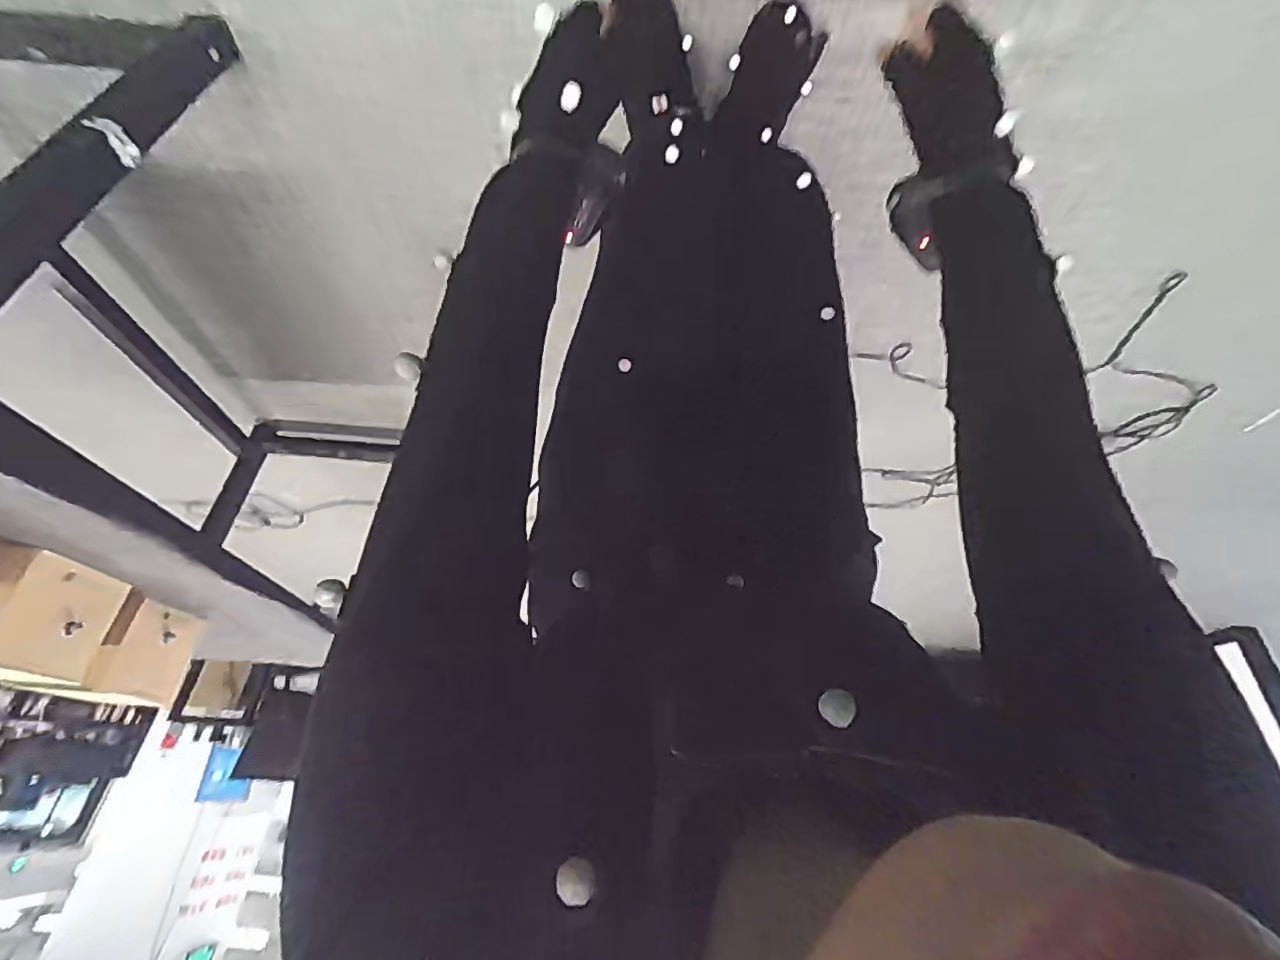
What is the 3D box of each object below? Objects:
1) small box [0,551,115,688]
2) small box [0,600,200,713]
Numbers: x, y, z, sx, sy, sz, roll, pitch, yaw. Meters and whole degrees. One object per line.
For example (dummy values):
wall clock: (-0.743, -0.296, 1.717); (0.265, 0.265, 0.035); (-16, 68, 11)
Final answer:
small box: (-0.961, 0.208, 0.815); (0.179, 0.176, 0.168); (3, 149, 3)
small box: (-0.988, 0.324, 1.006); (0.179, 0.176, 0.168); (3, 149, 3)
